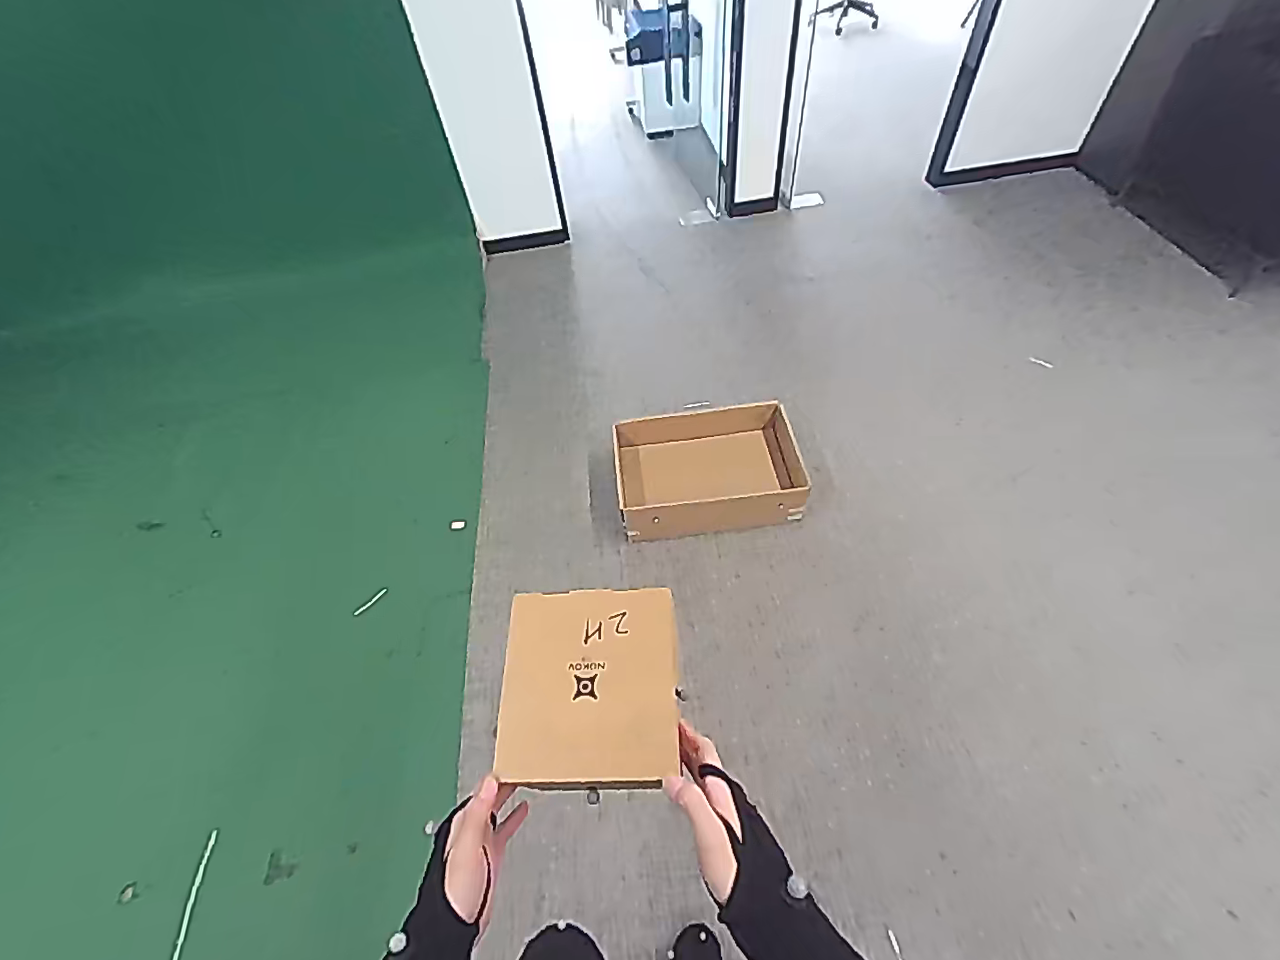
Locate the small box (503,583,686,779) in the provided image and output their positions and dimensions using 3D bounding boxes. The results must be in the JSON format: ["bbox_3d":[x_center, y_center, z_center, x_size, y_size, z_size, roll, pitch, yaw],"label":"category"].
[{"bbox_3d":[-0.037,0.227,0.594,0.168,0.176,0.179,-3,58,4],"label":"small box"}]
